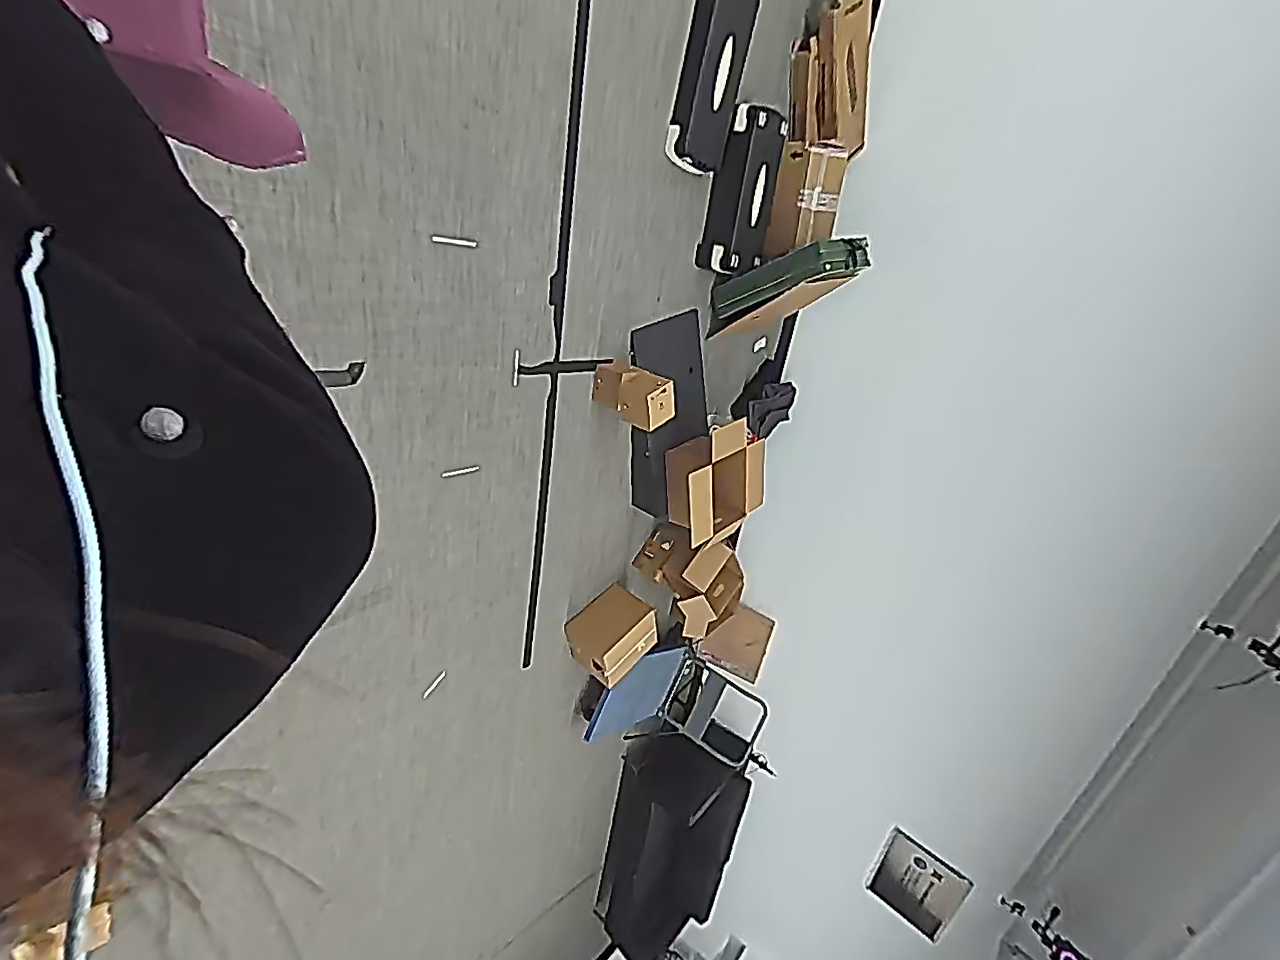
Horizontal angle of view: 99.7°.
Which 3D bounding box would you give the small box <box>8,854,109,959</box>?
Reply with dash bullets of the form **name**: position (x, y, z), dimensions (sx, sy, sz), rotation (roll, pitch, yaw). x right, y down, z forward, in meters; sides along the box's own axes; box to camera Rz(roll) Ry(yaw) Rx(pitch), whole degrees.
- **small box**: position (-1.617, 1.207, 1.503), dimensions (0.179, 0.176, 0.168), rotation (-9, 119, -52)
